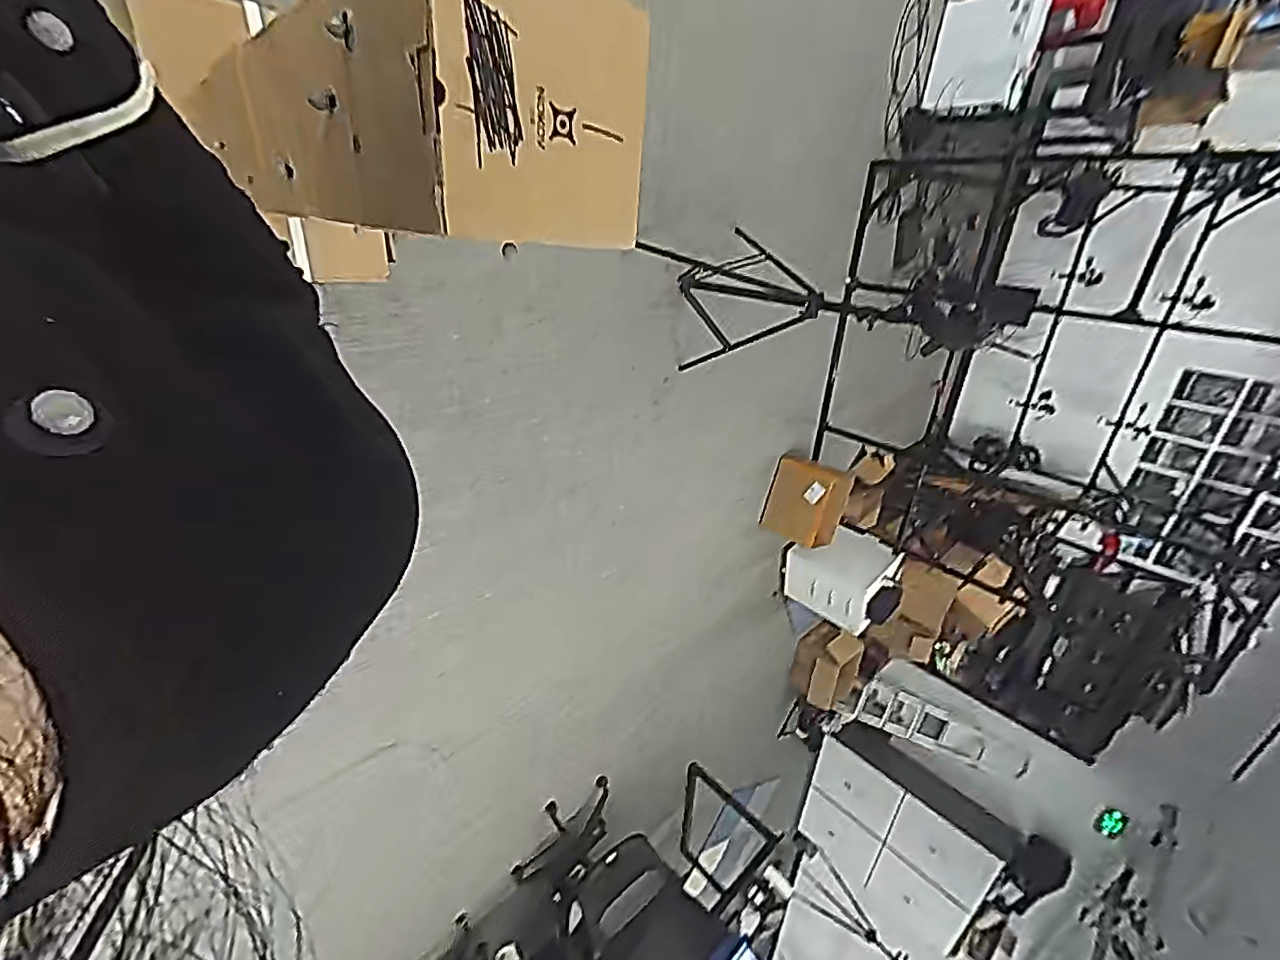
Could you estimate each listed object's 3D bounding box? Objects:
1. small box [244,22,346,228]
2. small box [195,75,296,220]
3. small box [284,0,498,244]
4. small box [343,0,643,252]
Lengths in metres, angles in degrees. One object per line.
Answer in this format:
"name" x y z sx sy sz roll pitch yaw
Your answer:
"small box" -0.345 -0.400 0.646 0.168 0.176 0.179 -18 123 -40
"small box" -0.571 -0.512 0.856 0.168 0.176 0.179 -21 126 -37
"small box" -0.234 -0.343 0.543 0.168 0.176 0.179 -17 122 -40
"small box" -0.121 -0.283 0.439 0.179 0.176 0.168 -17 122 -41
